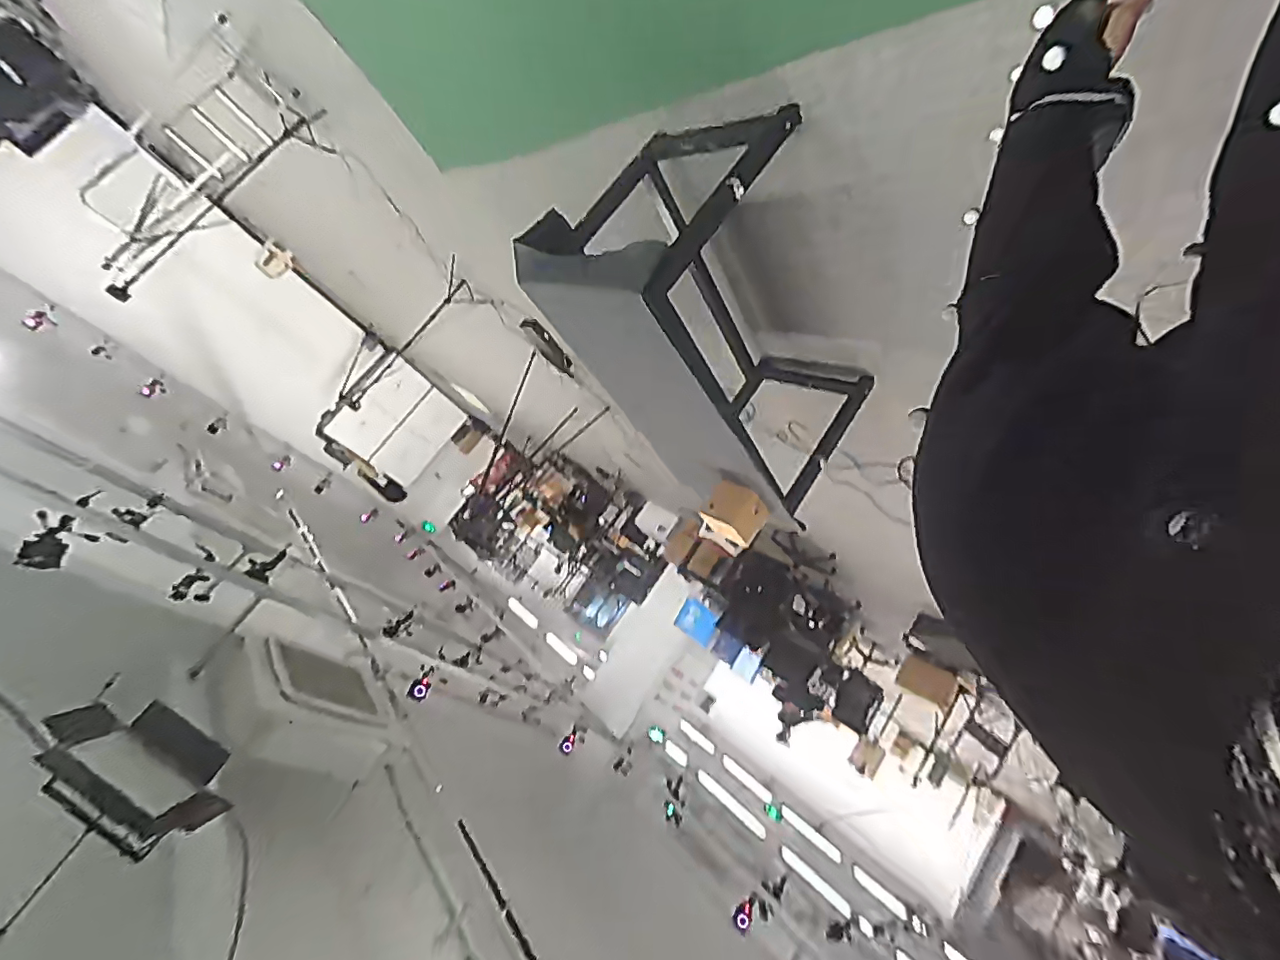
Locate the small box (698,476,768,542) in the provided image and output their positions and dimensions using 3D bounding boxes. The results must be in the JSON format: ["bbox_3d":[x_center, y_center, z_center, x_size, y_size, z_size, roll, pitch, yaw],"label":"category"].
[{"bbox_3d":[0.361,0.106,2.083,0.179,0.176,0.168,23,163,46],"label":"small box"}]
